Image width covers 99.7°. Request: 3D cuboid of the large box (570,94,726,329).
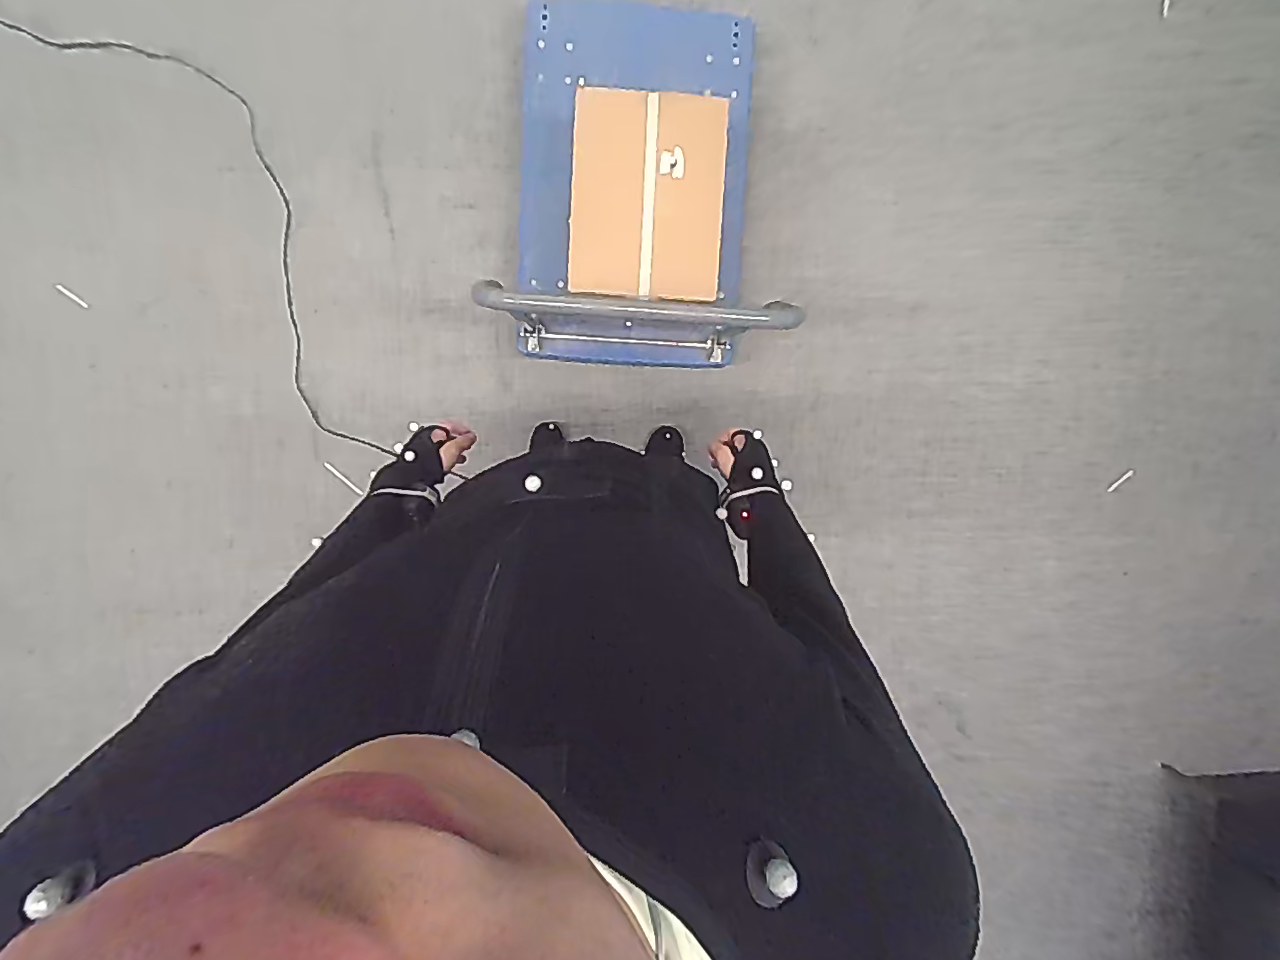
[{"bbox_3d":[0.009,-0.586,1.257,0.320,0.320,0.408,3,94,-4],"label":"large box"}]
